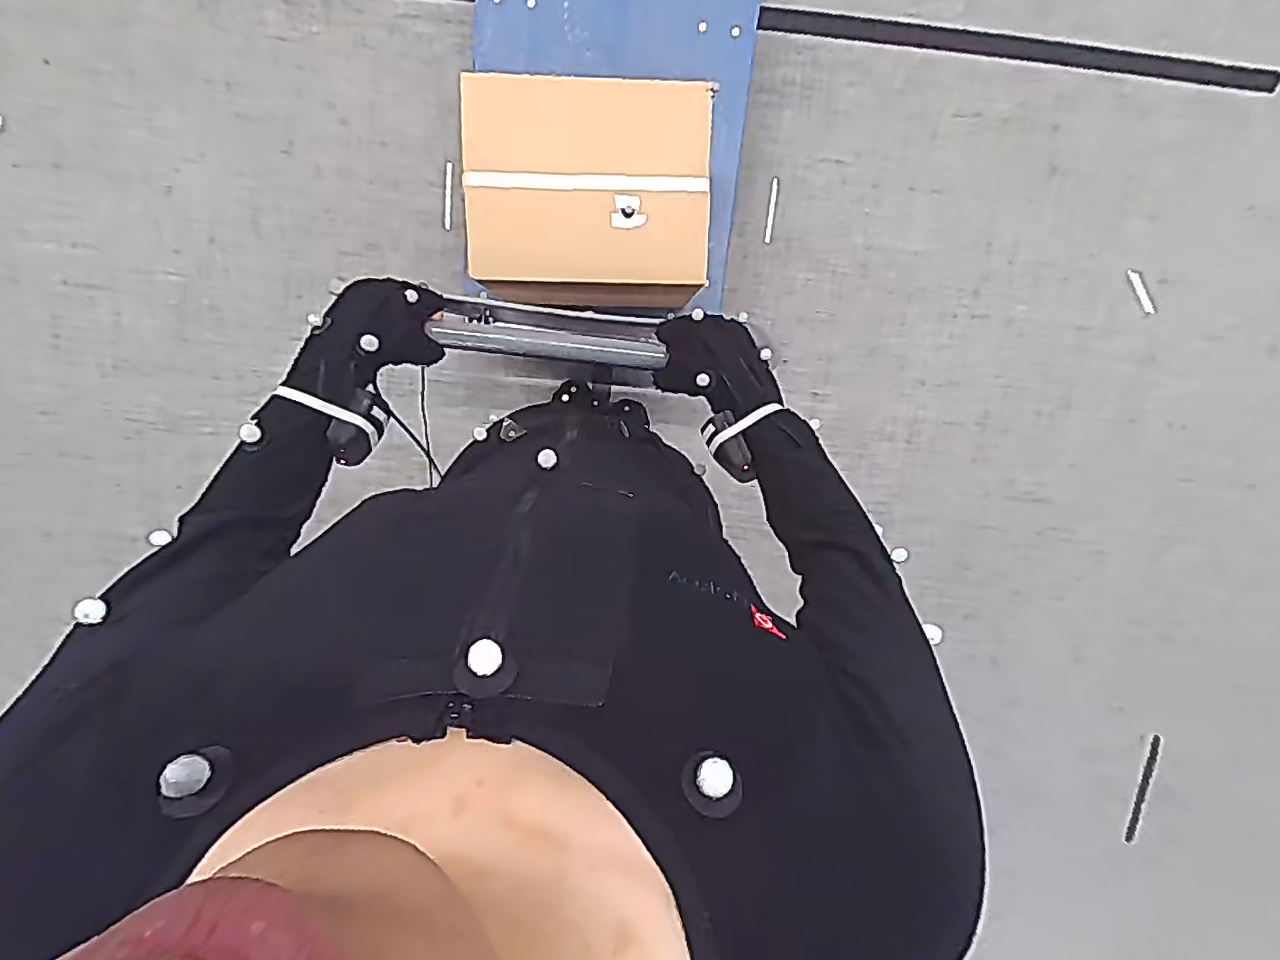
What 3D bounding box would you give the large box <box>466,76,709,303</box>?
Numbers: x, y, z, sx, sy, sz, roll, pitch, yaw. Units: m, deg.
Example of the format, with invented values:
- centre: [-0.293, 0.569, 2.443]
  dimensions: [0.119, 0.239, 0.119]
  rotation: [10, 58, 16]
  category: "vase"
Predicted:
- centre: [-0.094, -0.528, 1.053]
  dimensions: [0.408, 0.320, 0.320]
  rotation: [0, 101, -4]
  category: "large box"
